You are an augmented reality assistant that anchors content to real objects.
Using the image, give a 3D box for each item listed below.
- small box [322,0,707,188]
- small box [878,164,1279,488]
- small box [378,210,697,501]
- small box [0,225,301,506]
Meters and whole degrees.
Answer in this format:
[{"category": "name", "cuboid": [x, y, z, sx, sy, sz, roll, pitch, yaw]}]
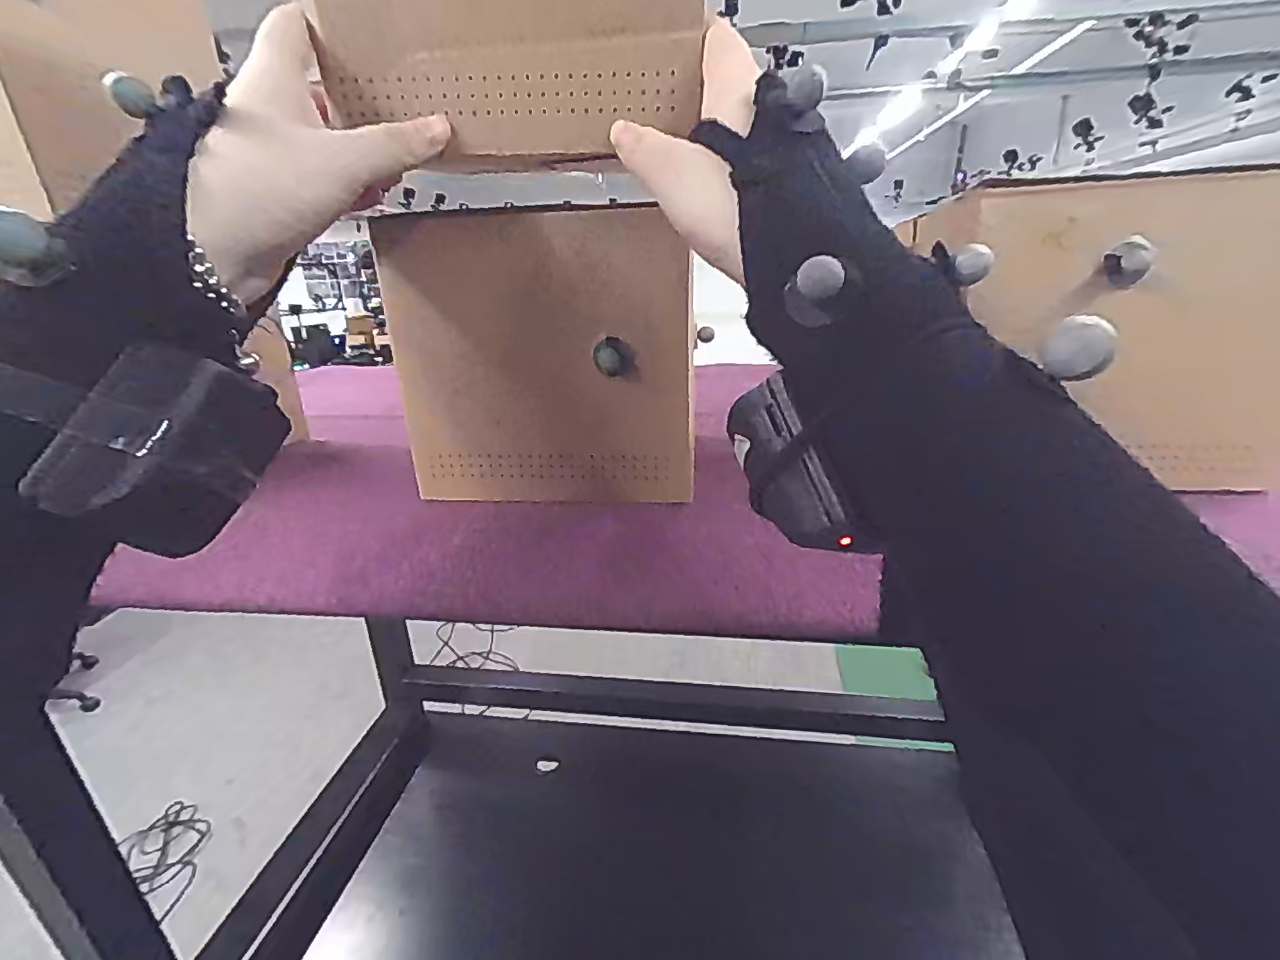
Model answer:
[{"category": "small box", "cuboid": [-0.054, -0.258, 0.291, 0.179, 0.176, 0.168, 1, 27, 2]}, {"category": "small box", "cuboid": [0.274, -0.096, 0.371, 0.179, 0.176, 0.168, 1, 18, 9]}, {"category": "small box", "cuboid": [-0.048, -0.089, 0.389, 0.179, 0.176, 0.168, -1, 20, 6]}, {"category": "small box", "cuboid": [-0.391, -0.087, 0.401, 0.168, 0.176, 0.179, 1, 21, 5]}]
